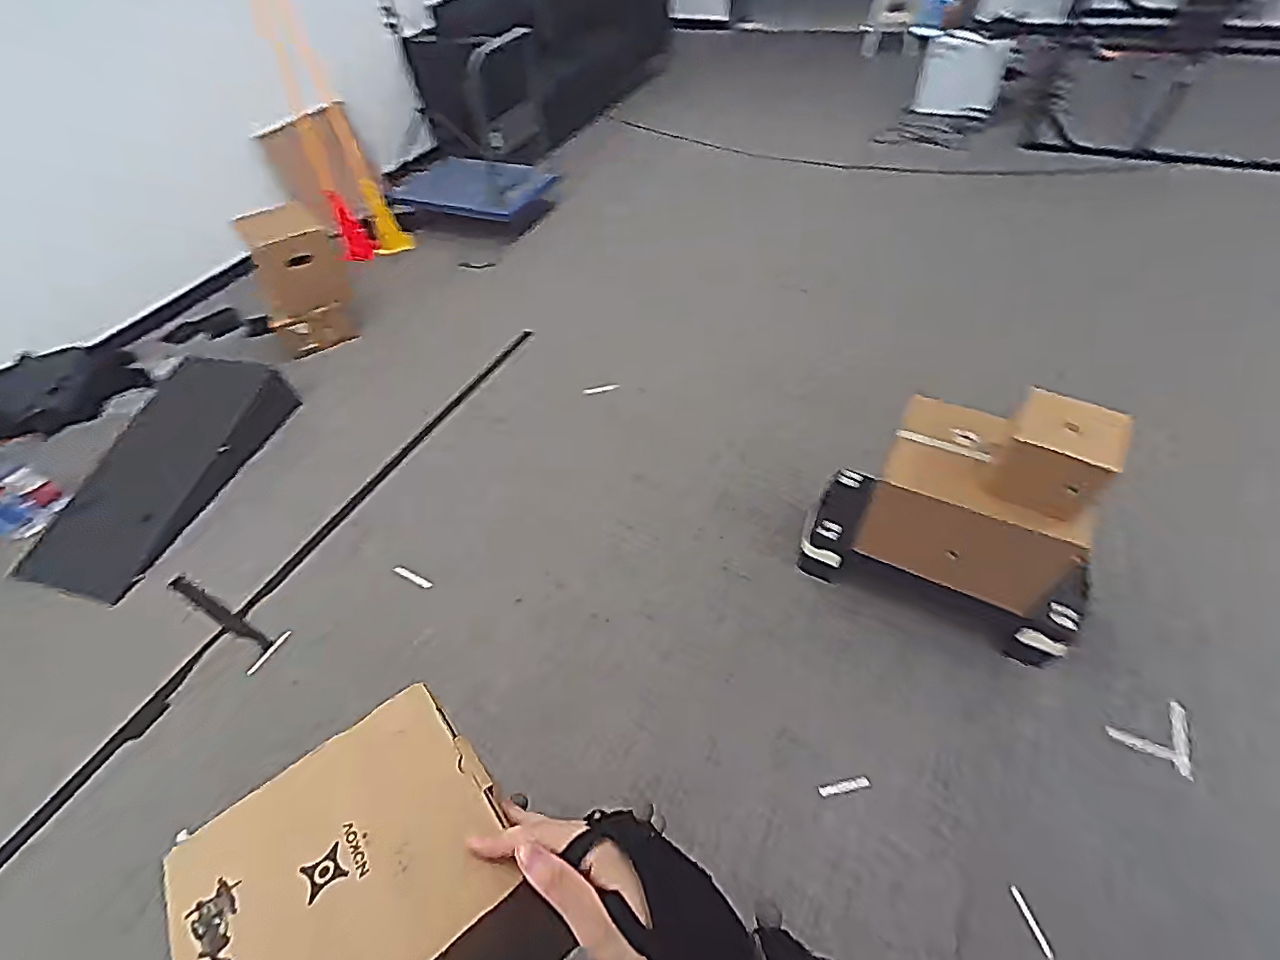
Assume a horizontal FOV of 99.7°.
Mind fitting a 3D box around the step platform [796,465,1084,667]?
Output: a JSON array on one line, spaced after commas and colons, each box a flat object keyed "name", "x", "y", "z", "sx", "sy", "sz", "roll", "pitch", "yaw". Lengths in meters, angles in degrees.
[{"name": "step platform", "x": 0.801, "y": 0.209, "z": 1.504, "sx": 0.684, "sy": 0.204, "sz": 0.286, "roll": 25, "pitch": 58, "yaw": 26}]

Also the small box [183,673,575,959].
[{"name": "small box", "x": -0.158, "y": 0.279, "z": 0.367, "sx": 0.179, "sy": 0.176, "sz": 0.168, "roll": -29, "pitch": 43, "yaw": -26}]

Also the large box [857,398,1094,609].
[{"name": "large box", "x": 0.800, "y": 0.053, "z": 1.322, "sx": 0.408, "sy": 0.320, "sz": 0.320, "roll": 20, "pitch": 55, "yaw": 23}]

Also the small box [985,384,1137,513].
[{"name": "small box", "x": 0.839, "y": -0.059, "z": 1.091, "sx": 0.179, "sy": 0.176, "sz": 0.168, "roll": 25, "pitch": 59, "yaw": 25}]
